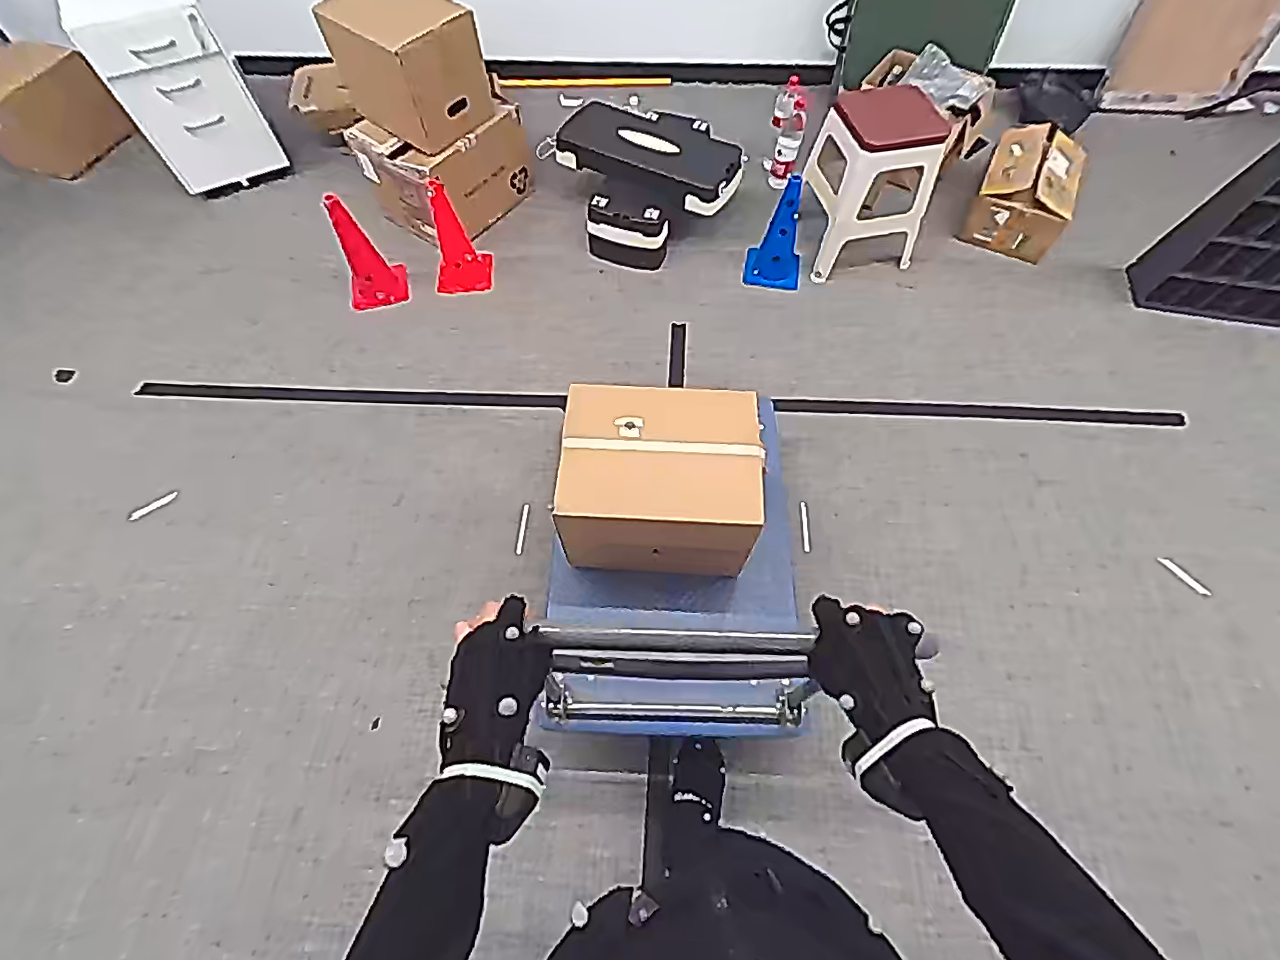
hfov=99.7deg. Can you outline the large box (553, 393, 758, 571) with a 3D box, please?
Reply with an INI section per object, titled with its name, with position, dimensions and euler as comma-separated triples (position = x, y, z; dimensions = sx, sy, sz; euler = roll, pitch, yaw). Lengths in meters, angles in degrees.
[large box]
position = 0.038, 0.016, 1.239
dimensions = 0.408, 0.320, 0.320
euler = 2, 62, 2
